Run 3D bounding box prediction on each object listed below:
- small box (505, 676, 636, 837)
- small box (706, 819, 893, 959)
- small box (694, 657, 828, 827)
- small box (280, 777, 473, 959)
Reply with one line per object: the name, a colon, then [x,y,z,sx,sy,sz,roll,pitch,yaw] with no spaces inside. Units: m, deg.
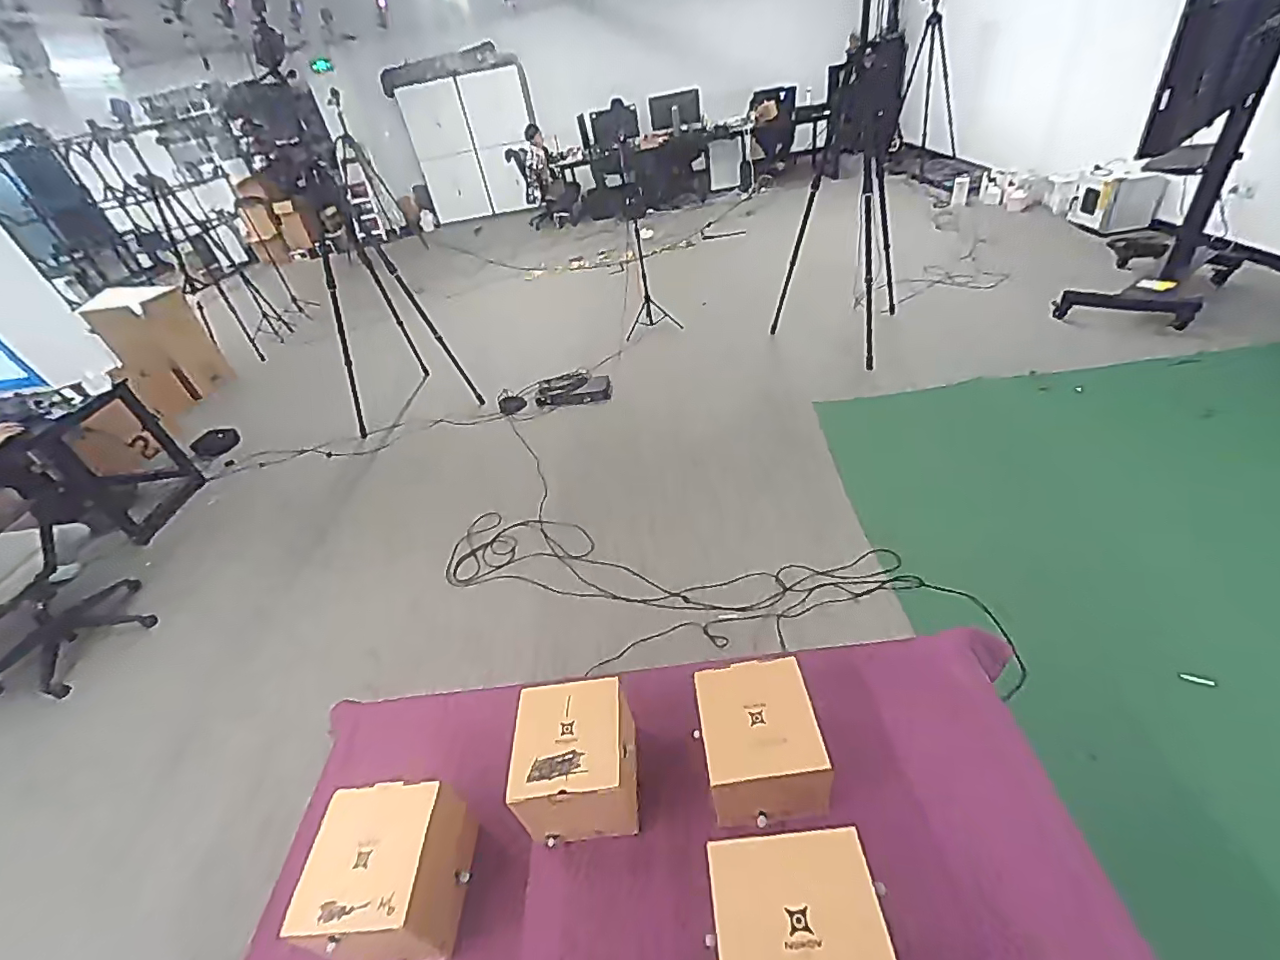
small box: [-0.100,0.445,0.865,0.168,0.176,0.179,-8,36,4]
small box: [0.166,0.495,0.570,0.168,0.176,0.179,-10,34,6]
small box: [0.181,0.407,0.843,0.168,0.176,0.179,-10,38,4]
small box: [-0.358,0.562,0.780,0.168,0.176,0.179,-9,37,6]
